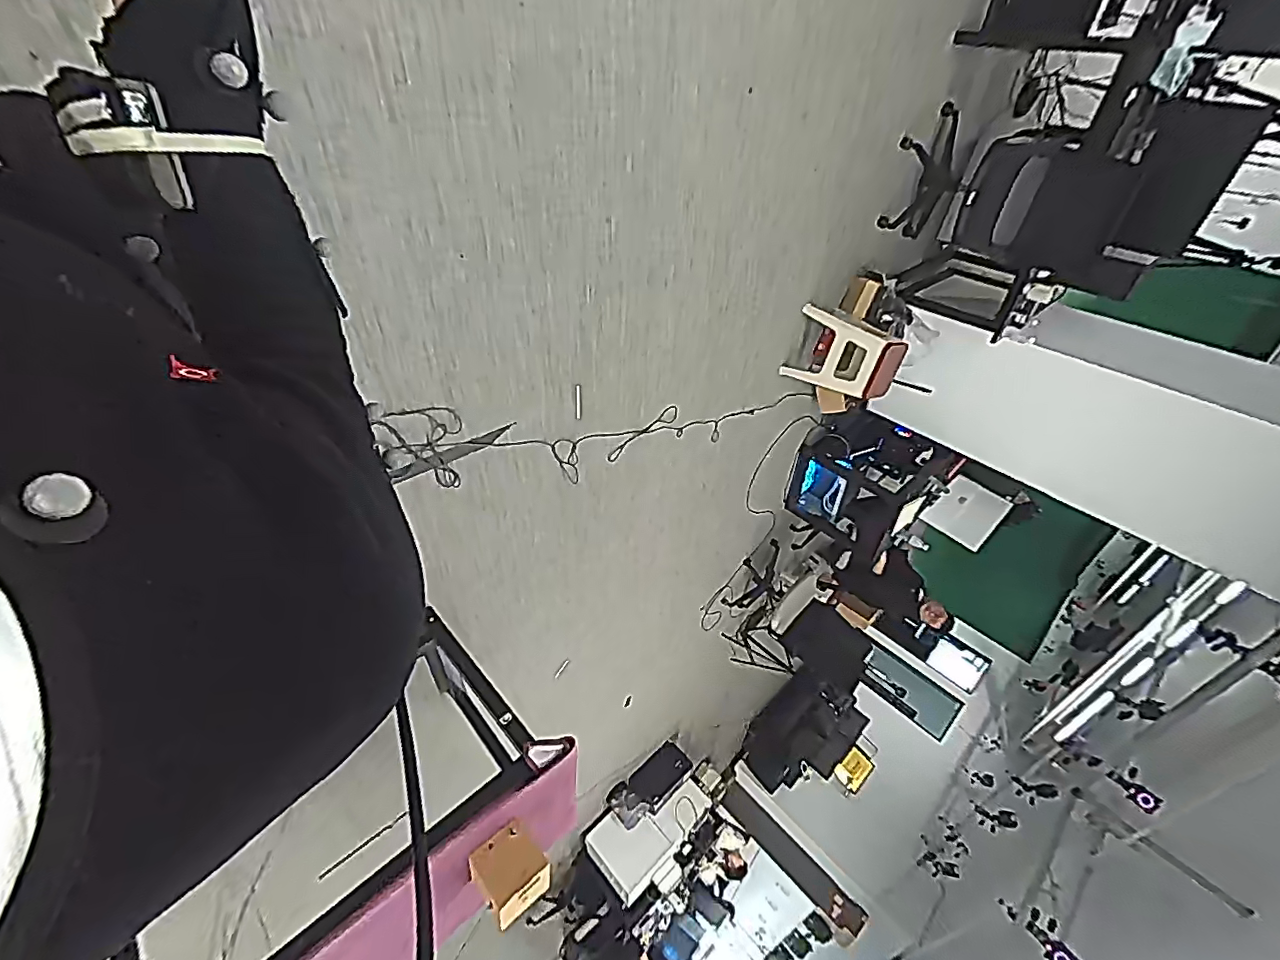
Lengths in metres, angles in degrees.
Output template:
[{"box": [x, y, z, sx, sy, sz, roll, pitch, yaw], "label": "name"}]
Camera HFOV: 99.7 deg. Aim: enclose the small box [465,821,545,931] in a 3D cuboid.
[{"box": [-0.391, 1.135, 1.563, 0.168, 0.176, 0.179, -24, 136, -38], "label": "small box"}]
